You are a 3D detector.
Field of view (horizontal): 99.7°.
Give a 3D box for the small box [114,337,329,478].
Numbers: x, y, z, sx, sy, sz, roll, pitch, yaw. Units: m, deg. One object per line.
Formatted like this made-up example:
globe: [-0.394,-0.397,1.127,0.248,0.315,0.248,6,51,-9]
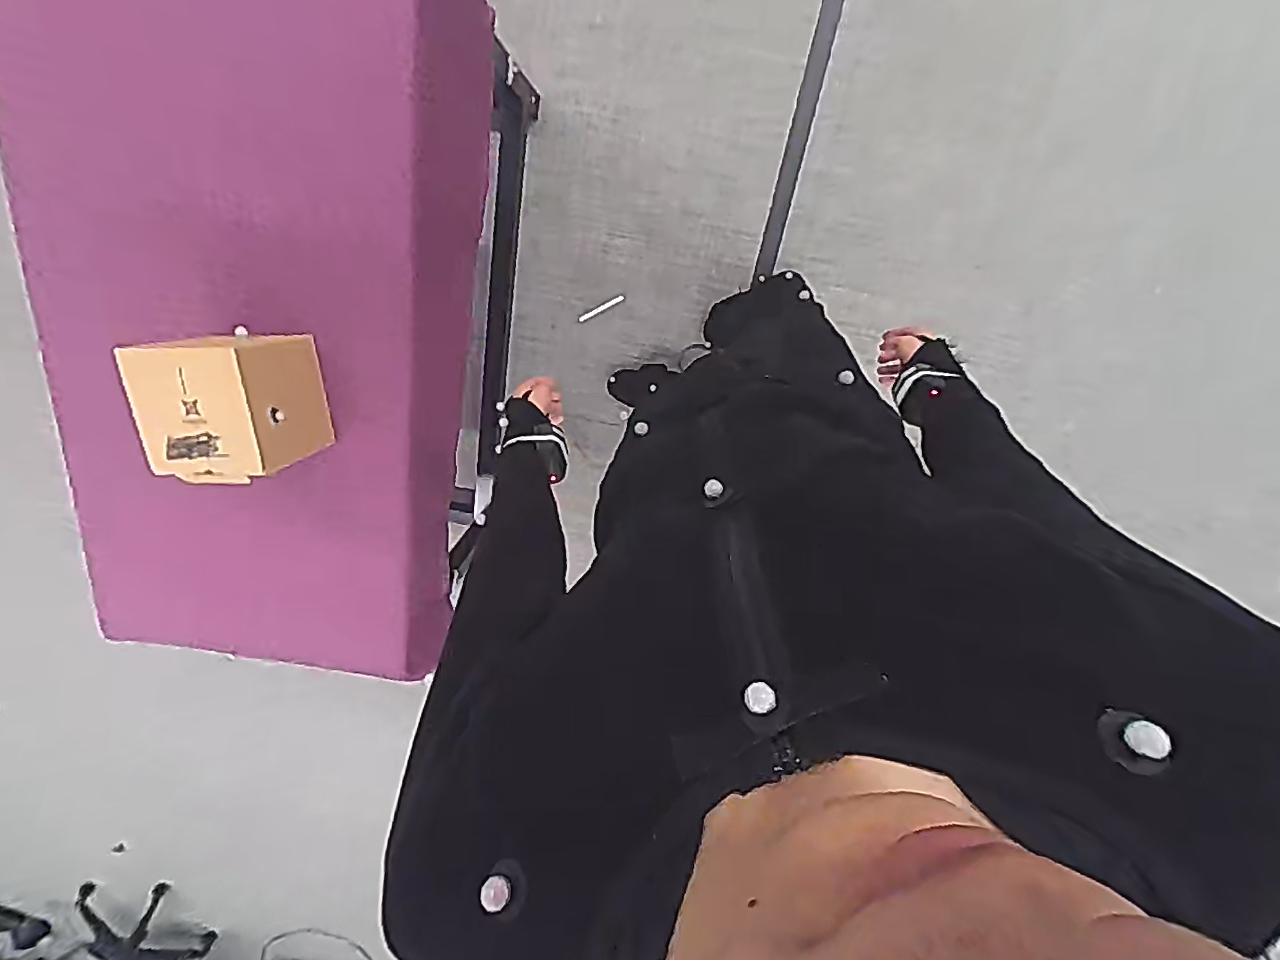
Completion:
small box: [-0.593,-0.112,0.797,0.168,0.176,0.179,0,110,3]
